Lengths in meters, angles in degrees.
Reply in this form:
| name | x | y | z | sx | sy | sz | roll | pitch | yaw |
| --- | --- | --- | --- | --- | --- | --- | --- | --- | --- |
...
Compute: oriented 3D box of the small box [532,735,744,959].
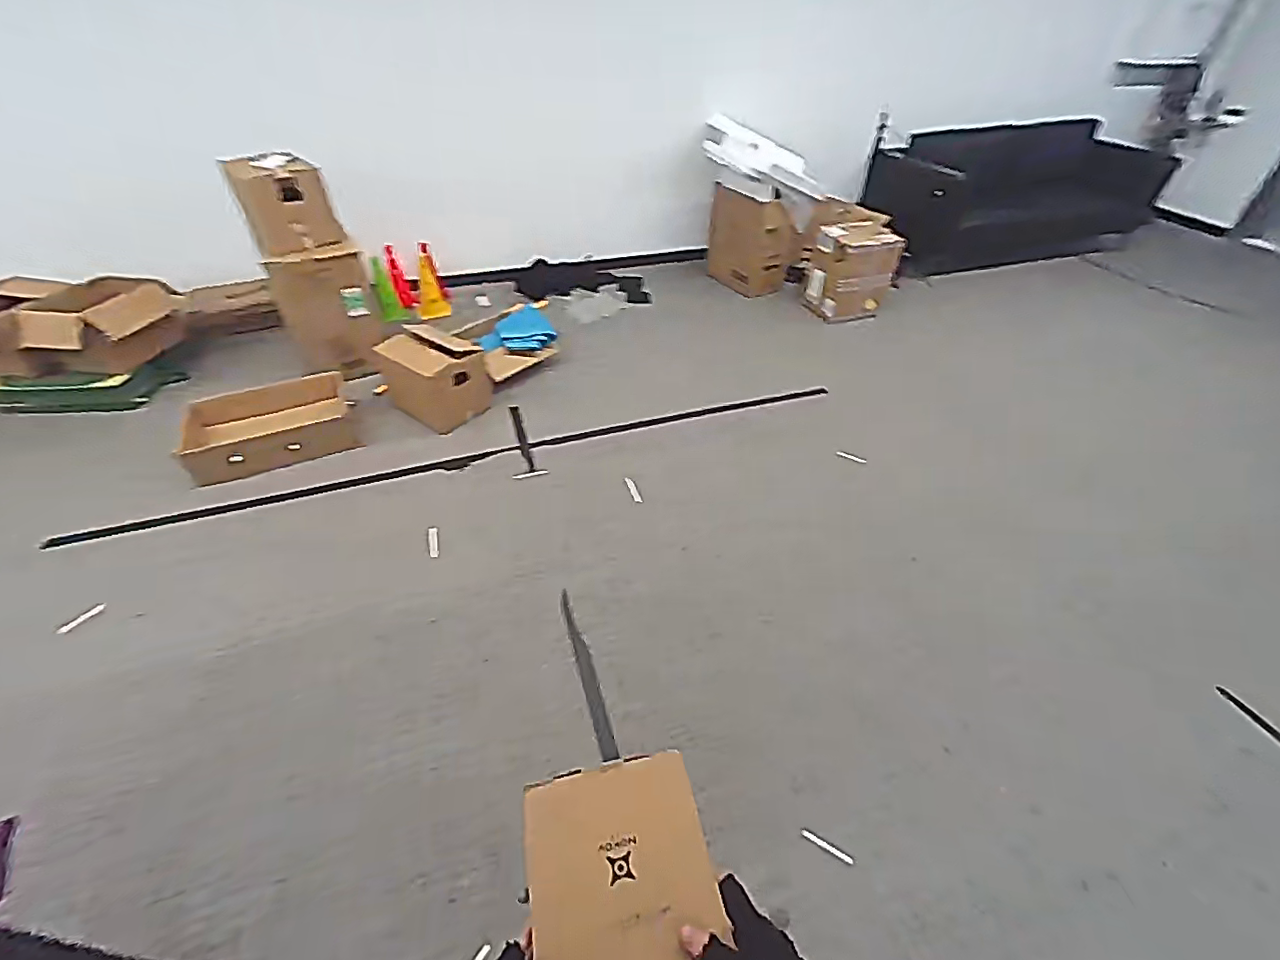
| name | x | y | z | sx | sy | sz | roll | pitch | yaw |
| --- | --- | --- | --- | --- | --- | --- | --- | --- | --- |
| small box | -0.013 | 0.393 | 0.542 | 0.168 | 0.176 | 0.179 | -9 | 43 | -10 |
